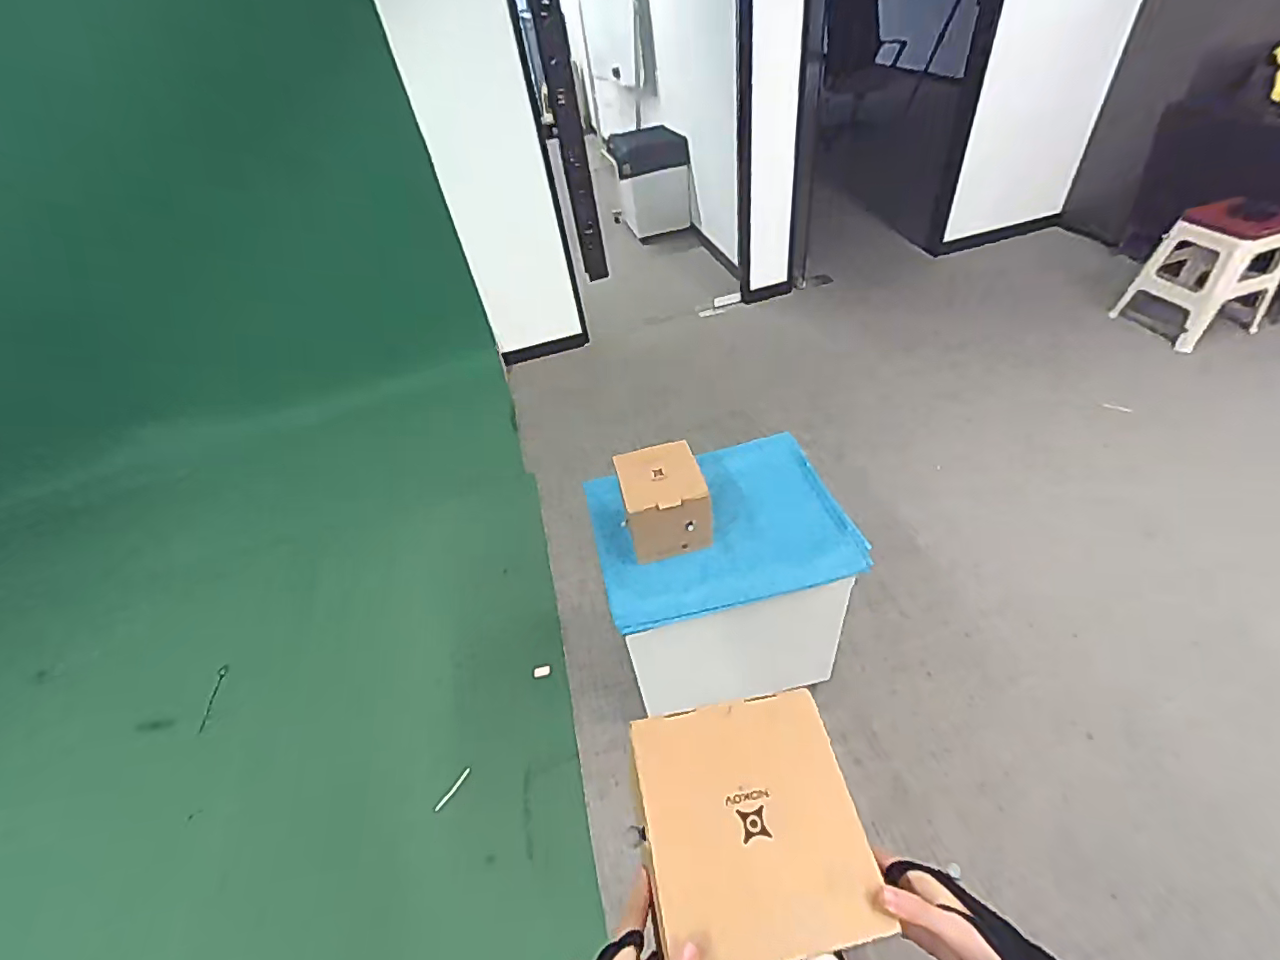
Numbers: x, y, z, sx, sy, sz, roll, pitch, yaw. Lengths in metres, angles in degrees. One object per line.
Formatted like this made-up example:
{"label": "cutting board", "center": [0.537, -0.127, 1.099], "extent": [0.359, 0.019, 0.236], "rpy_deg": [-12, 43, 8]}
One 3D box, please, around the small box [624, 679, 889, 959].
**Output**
{"label": "small box", "center": [0.081, 0.304, 0.479], "extent": [0.168, 0.176, 0.179], "rpy_deg": [-7, 49, -7]}

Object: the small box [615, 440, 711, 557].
{"label": "small box", "center": [0.050, 0.046, 1.146], "extent": [0.168, 0.176, 0.179], "rpy_deg": [-12, 43, -4]}
